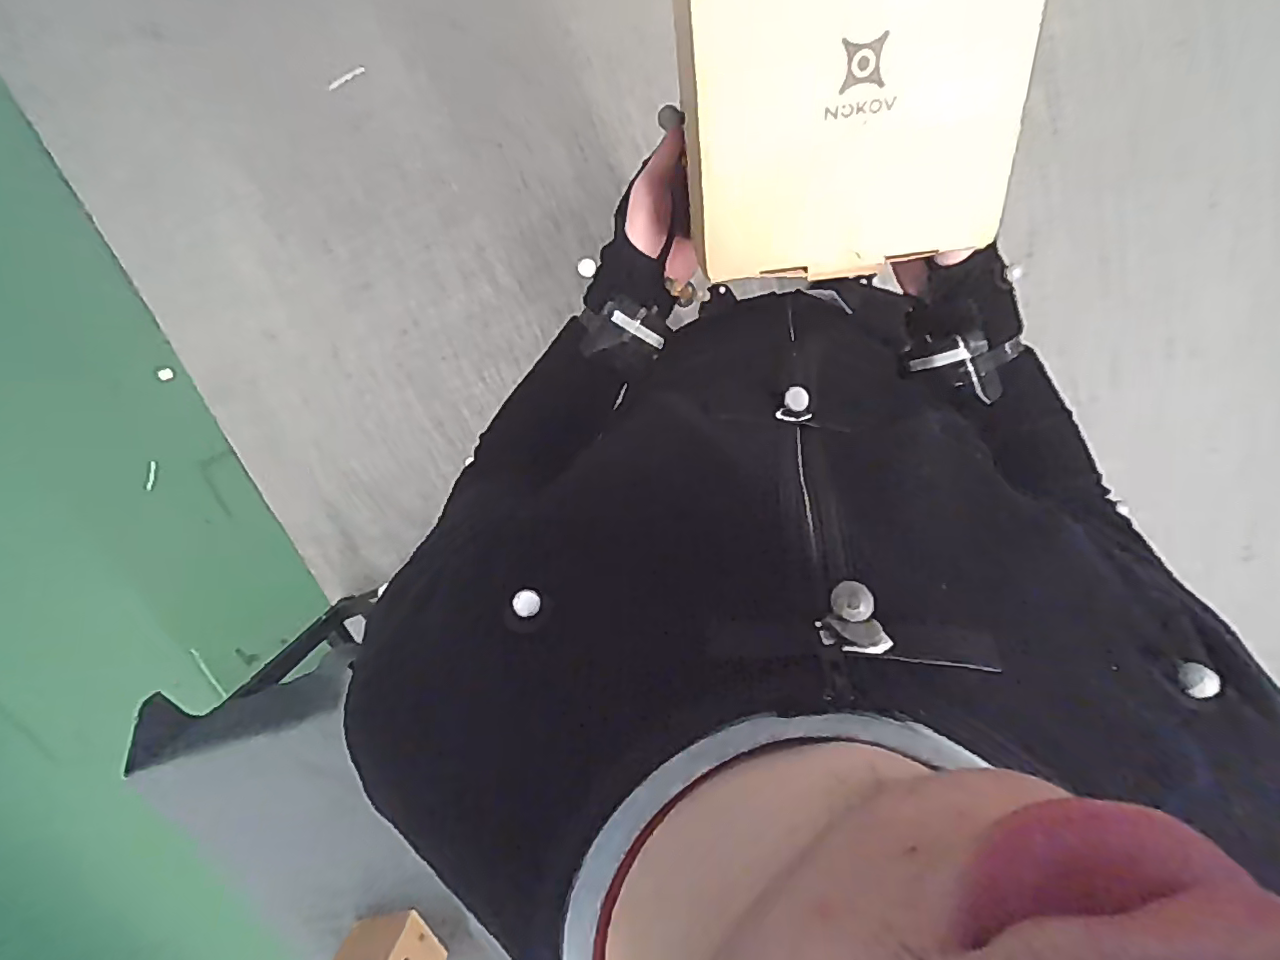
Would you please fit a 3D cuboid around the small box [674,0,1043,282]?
[{"bbox_3d":[0.112,-0.244,0.341,0.168,0.176,0.179,-6,124,4],"label":"small box"}]

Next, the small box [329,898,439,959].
[{"bbox_3d":[-0.584,1.091,1.224,0.179,0.176,0.168,-19,105,14],"label":"small box"}]
